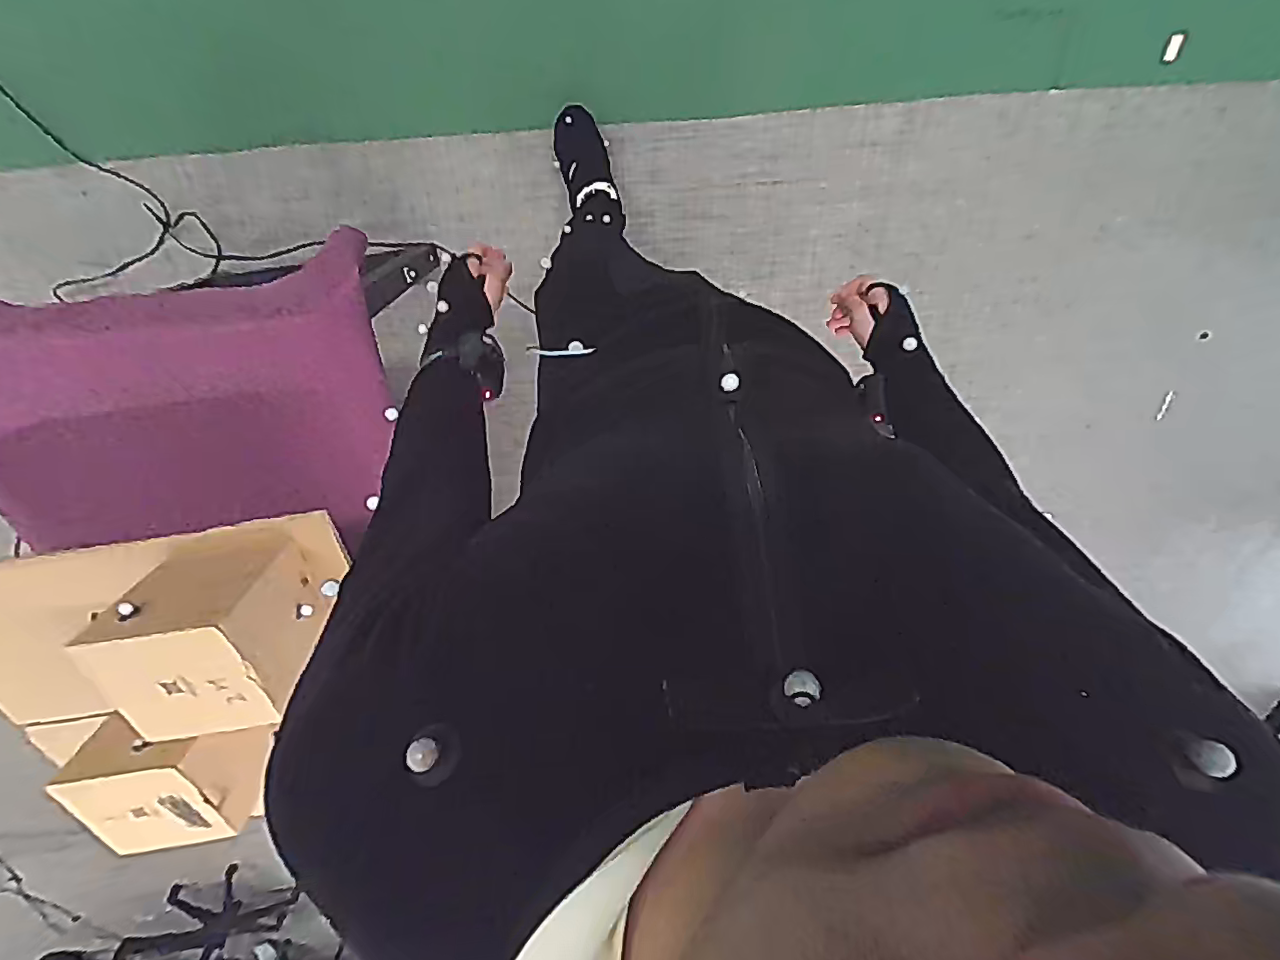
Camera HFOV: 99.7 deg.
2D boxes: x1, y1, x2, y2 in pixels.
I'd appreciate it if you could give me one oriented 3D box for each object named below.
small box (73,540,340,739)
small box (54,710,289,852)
[{"bbox_3d":[-0.530,0.198,0.696,0.179,0.176,0.168,-9,119,-1],"label":"small box"},{"bbox_3d":[-0.660,0.406,0.798,0.179,0.176,0.168,-9,119,1],"label":"small box"}]
